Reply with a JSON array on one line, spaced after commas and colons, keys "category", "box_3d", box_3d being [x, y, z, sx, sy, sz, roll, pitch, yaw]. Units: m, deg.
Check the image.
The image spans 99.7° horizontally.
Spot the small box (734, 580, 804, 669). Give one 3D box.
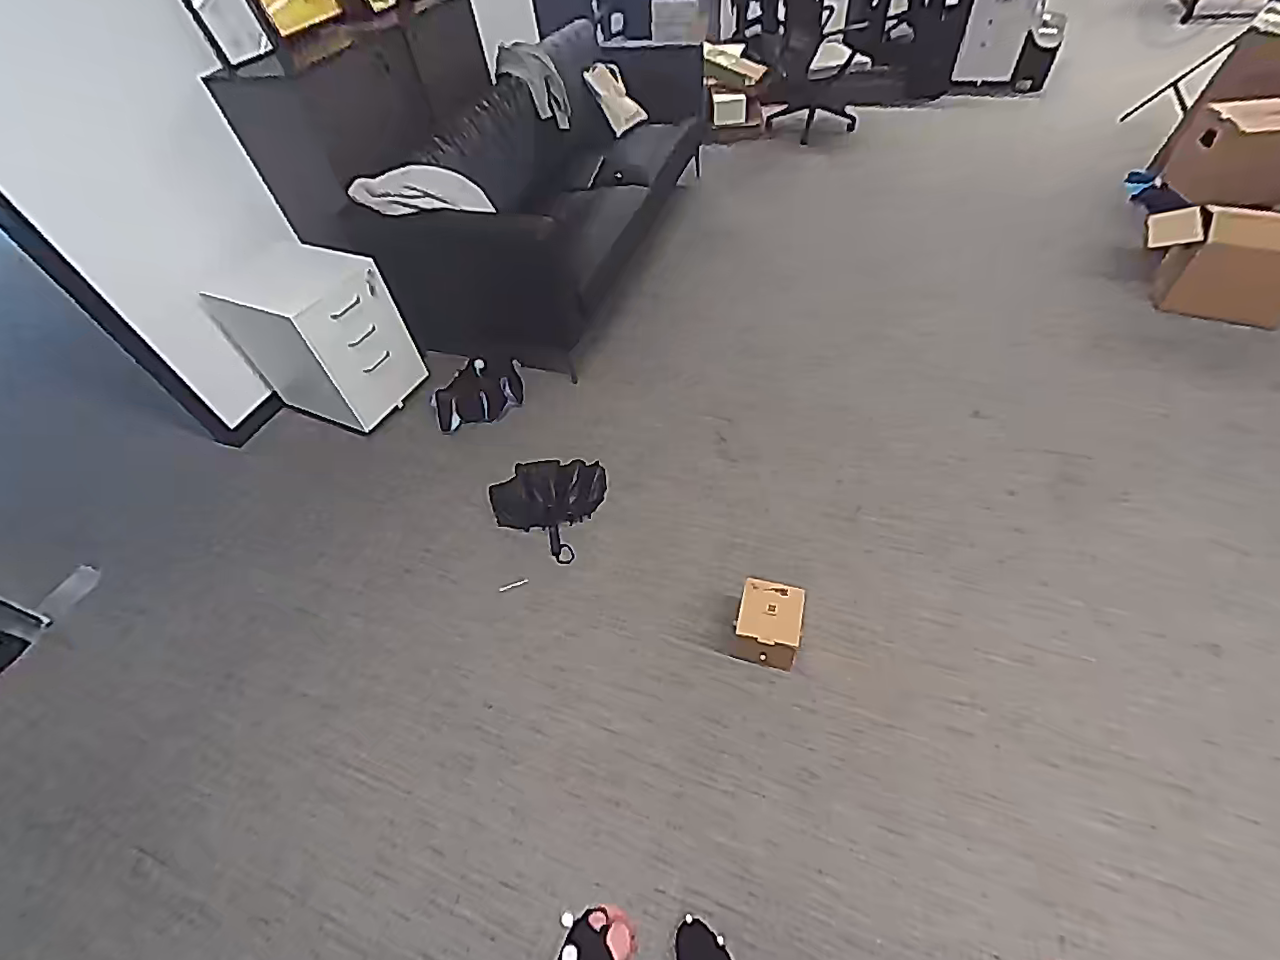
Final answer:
[{"category": "small box", "box_3d": [0.364, 0.413, 1.534, 0.168, 0.176, 0.179, 9, 53, 15]}]
